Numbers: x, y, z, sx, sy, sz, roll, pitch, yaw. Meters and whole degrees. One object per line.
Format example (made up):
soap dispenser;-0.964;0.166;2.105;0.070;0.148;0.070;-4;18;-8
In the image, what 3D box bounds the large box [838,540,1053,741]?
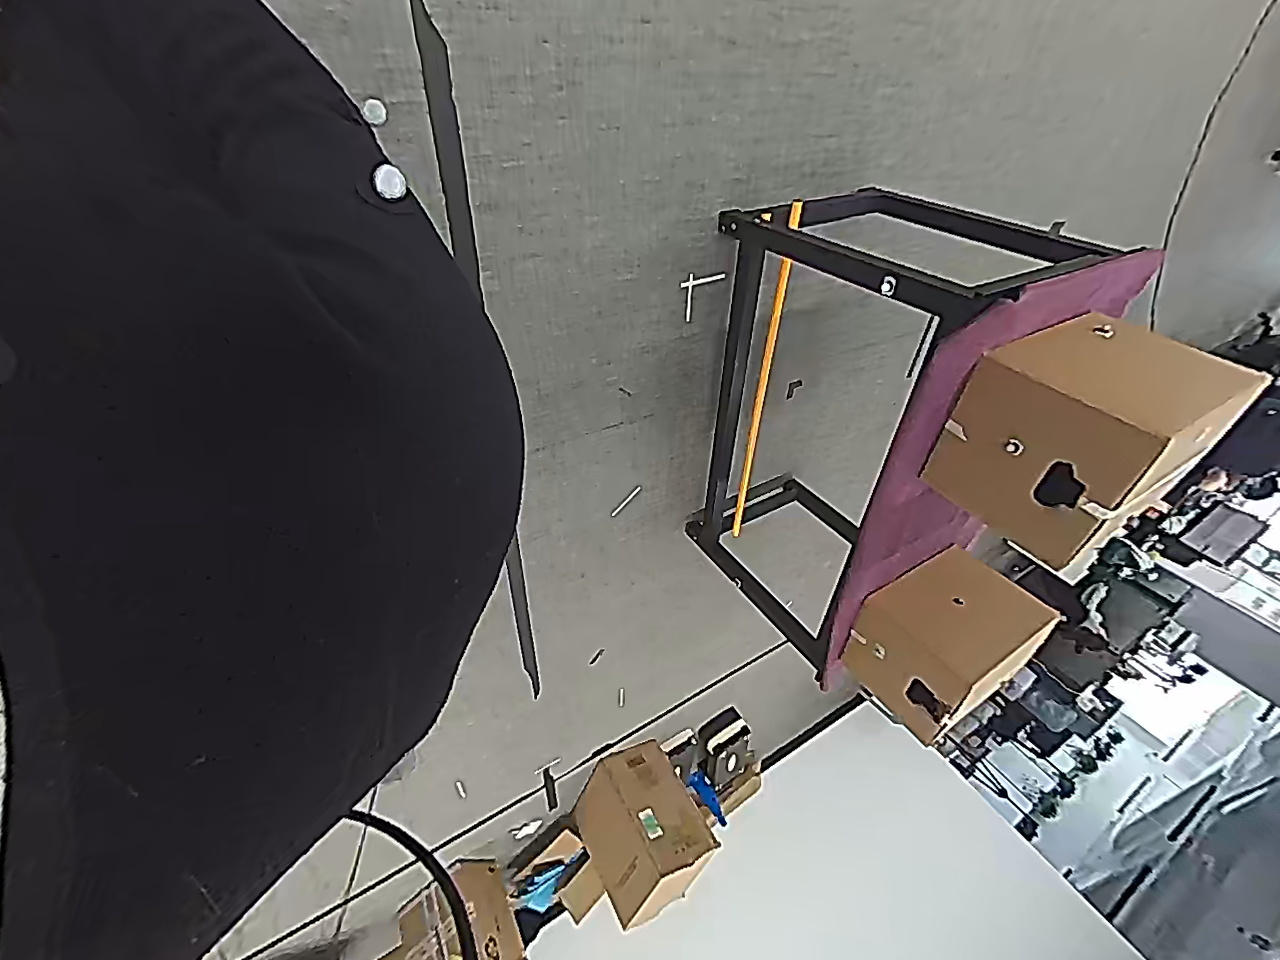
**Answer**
large box;0.838;0.436;1.527;0.408;0.320;0.320;-22;135;-26
